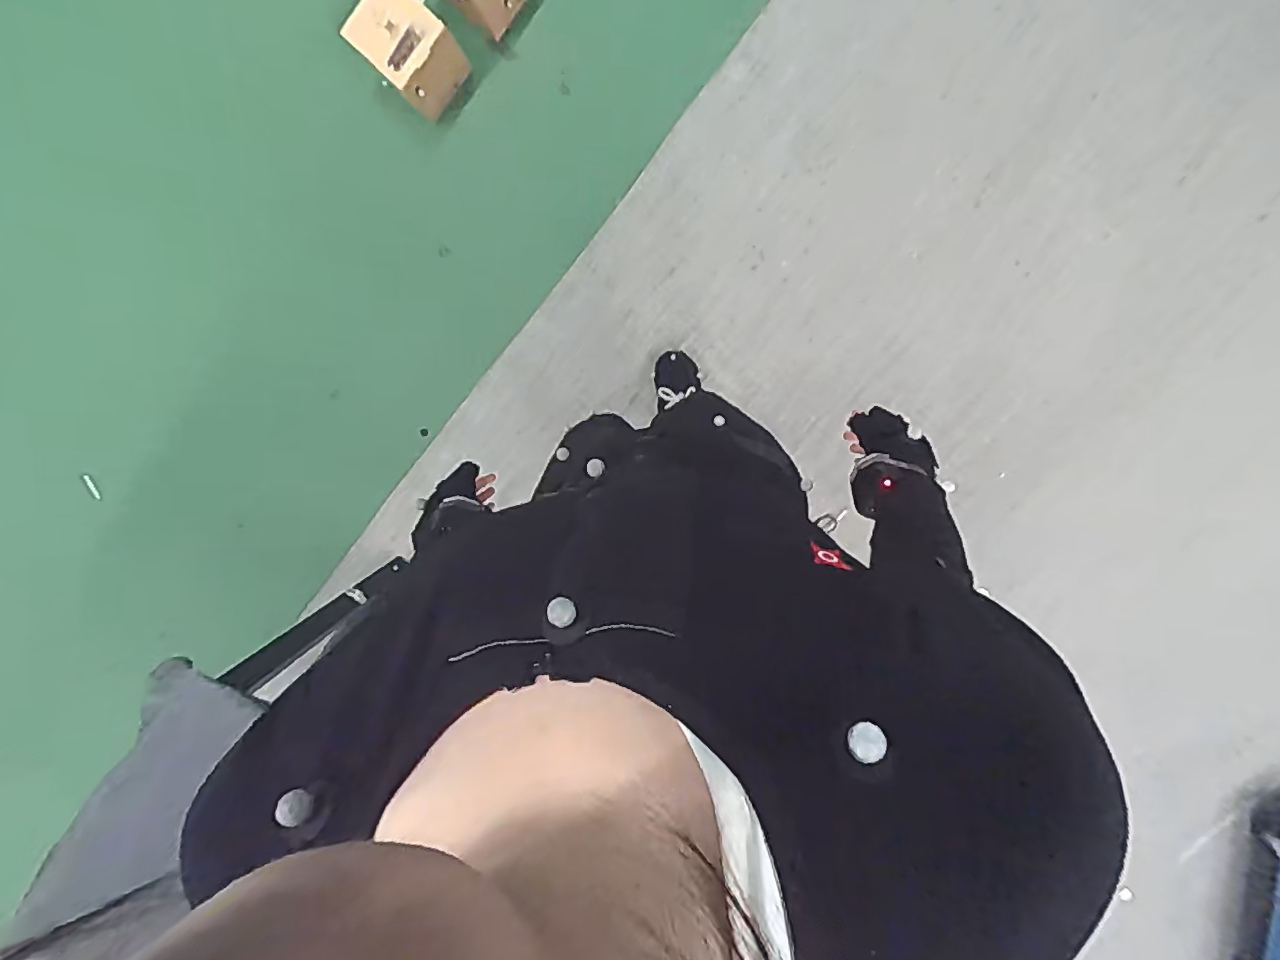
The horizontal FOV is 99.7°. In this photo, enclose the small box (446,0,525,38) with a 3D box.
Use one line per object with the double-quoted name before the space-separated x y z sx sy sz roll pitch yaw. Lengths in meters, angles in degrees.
"small box" -0.371 -1.157 1.209 0.179 0.176 0.168 39 99 -6
